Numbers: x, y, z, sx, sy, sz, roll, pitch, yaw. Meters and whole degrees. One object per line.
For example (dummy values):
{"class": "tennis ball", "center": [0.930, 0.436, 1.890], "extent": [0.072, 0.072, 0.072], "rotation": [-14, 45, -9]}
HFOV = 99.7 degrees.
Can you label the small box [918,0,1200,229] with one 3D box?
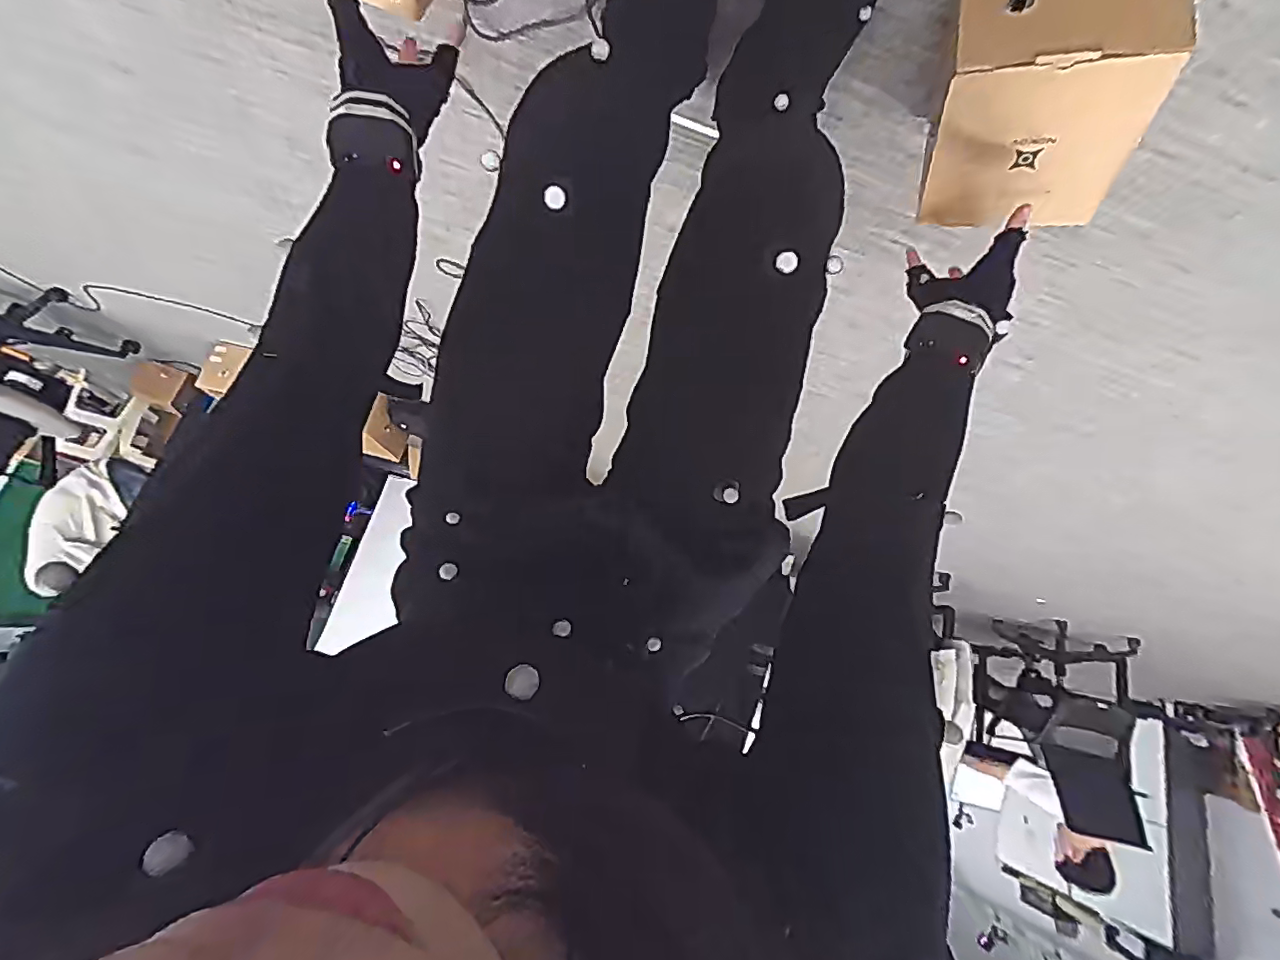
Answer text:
{"class": "small box", "center": [0.386, -0.378, 0.530], "extent": [0.168, 0.176, 0.179], "rotation": [10, 162, 20]}
